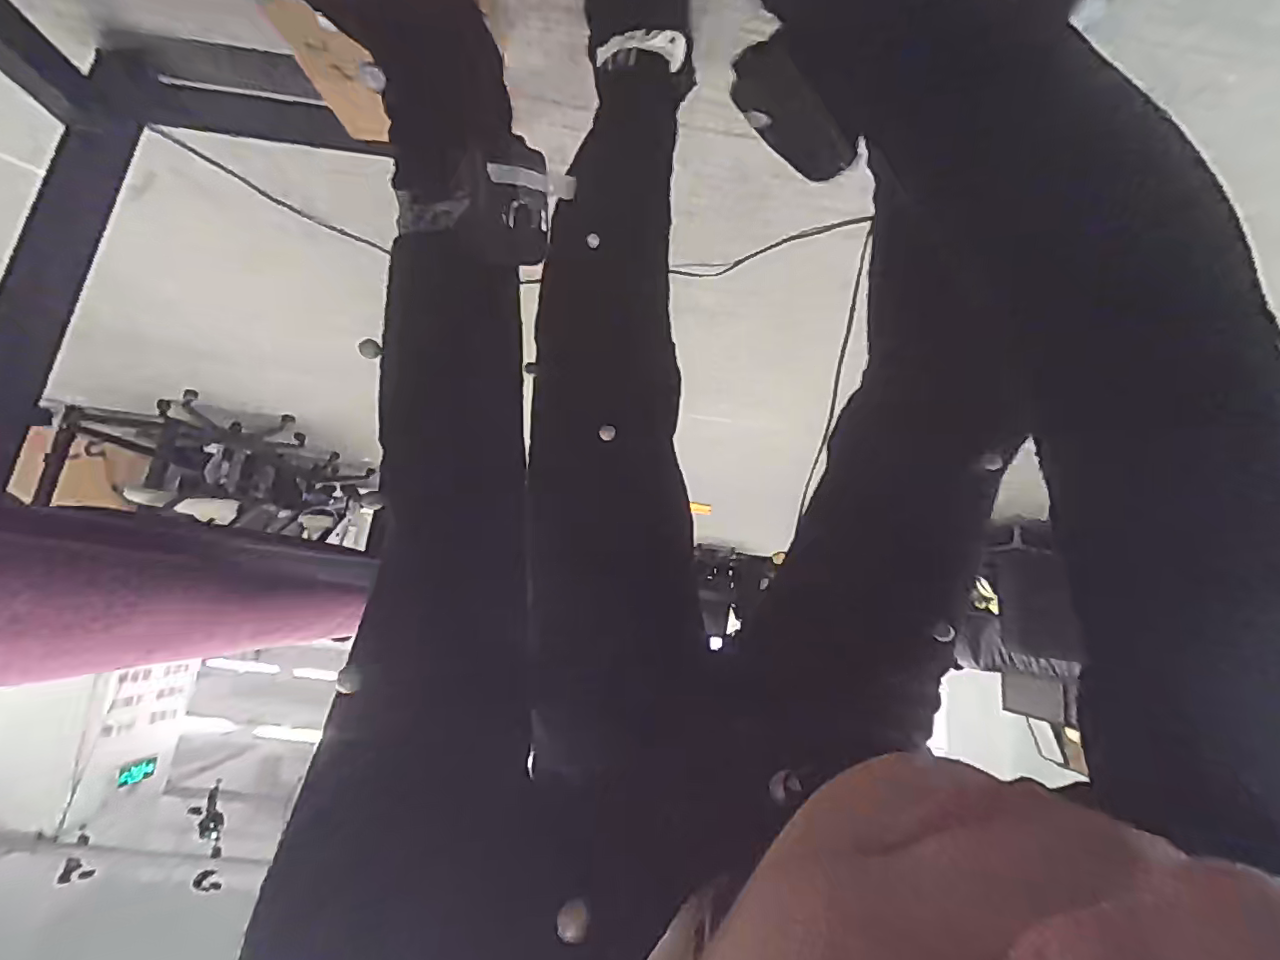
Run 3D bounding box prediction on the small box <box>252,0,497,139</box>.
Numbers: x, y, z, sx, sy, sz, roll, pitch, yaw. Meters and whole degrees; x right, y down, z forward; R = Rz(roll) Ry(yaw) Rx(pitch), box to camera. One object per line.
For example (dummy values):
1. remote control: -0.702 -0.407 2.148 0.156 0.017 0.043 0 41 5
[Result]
1. small box: -0.264 -0.504 0.578 0.179 0.176 0.168 6 167 5
